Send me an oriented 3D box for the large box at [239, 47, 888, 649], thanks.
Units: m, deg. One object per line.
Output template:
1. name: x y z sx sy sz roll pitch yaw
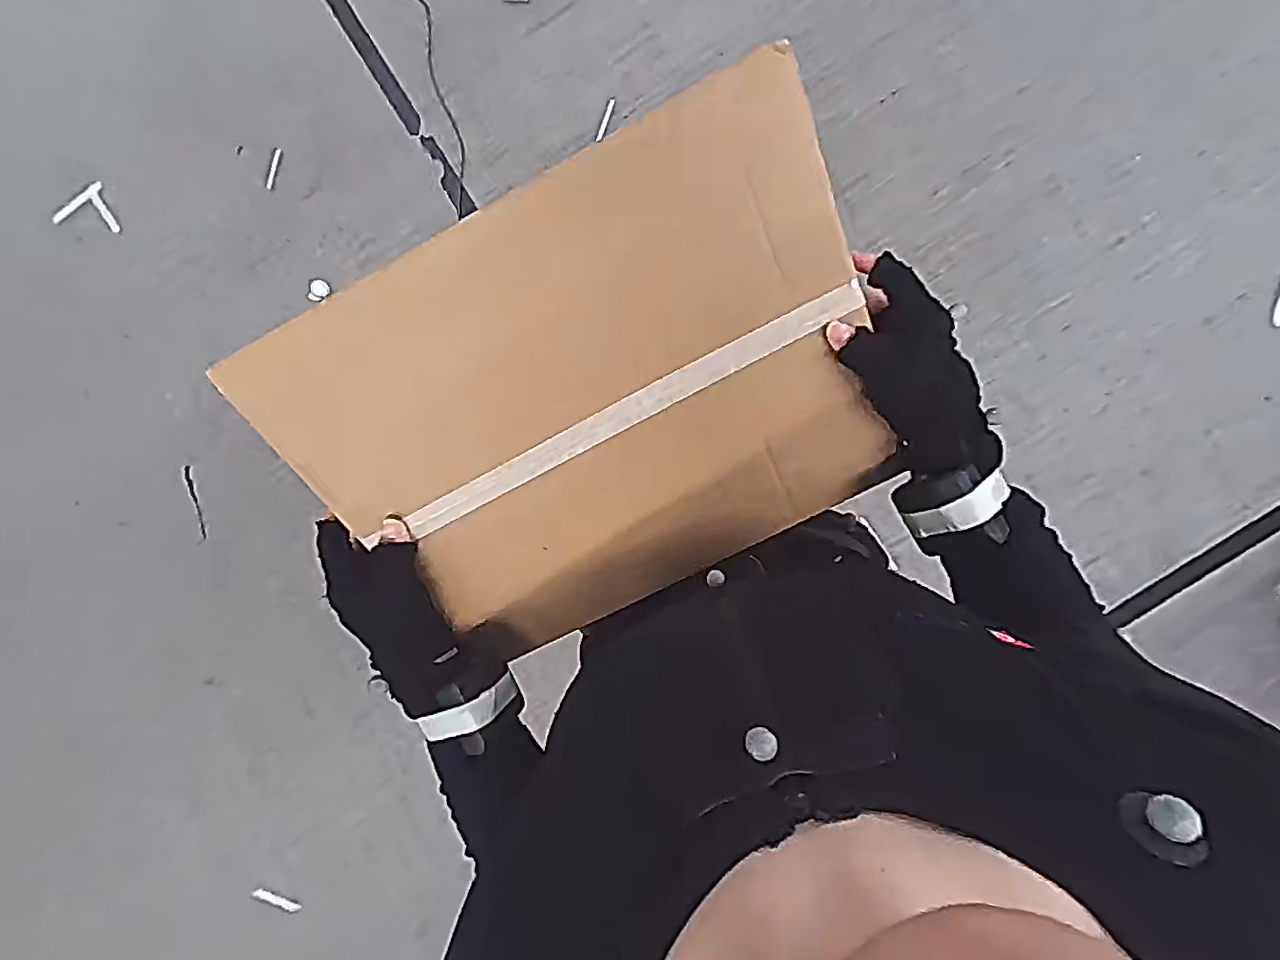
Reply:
1. large box: -0.051 -0.115 0.539 0.408 0.320 0.320 -27 118 6
